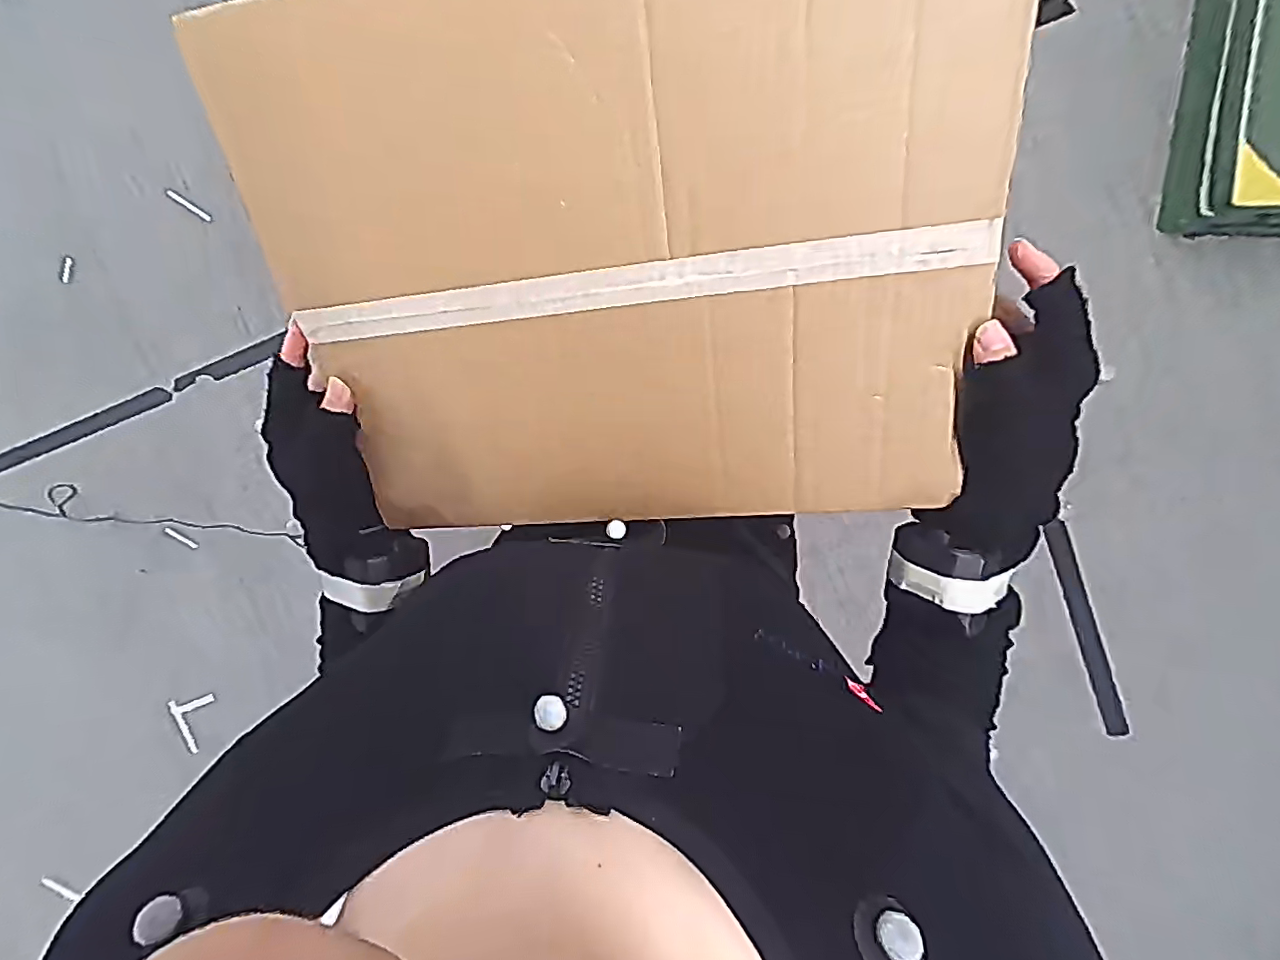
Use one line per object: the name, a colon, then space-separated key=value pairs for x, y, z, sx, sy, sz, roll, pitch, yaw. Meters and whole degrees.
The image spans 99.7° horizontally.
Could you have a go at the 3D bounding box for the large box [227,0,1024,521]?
large box: x=0.008 y=-0.183 z=0.450 sx=0.408 sy=0.320 sz=0.320 roll=-3 pitch=118 yaw=10
